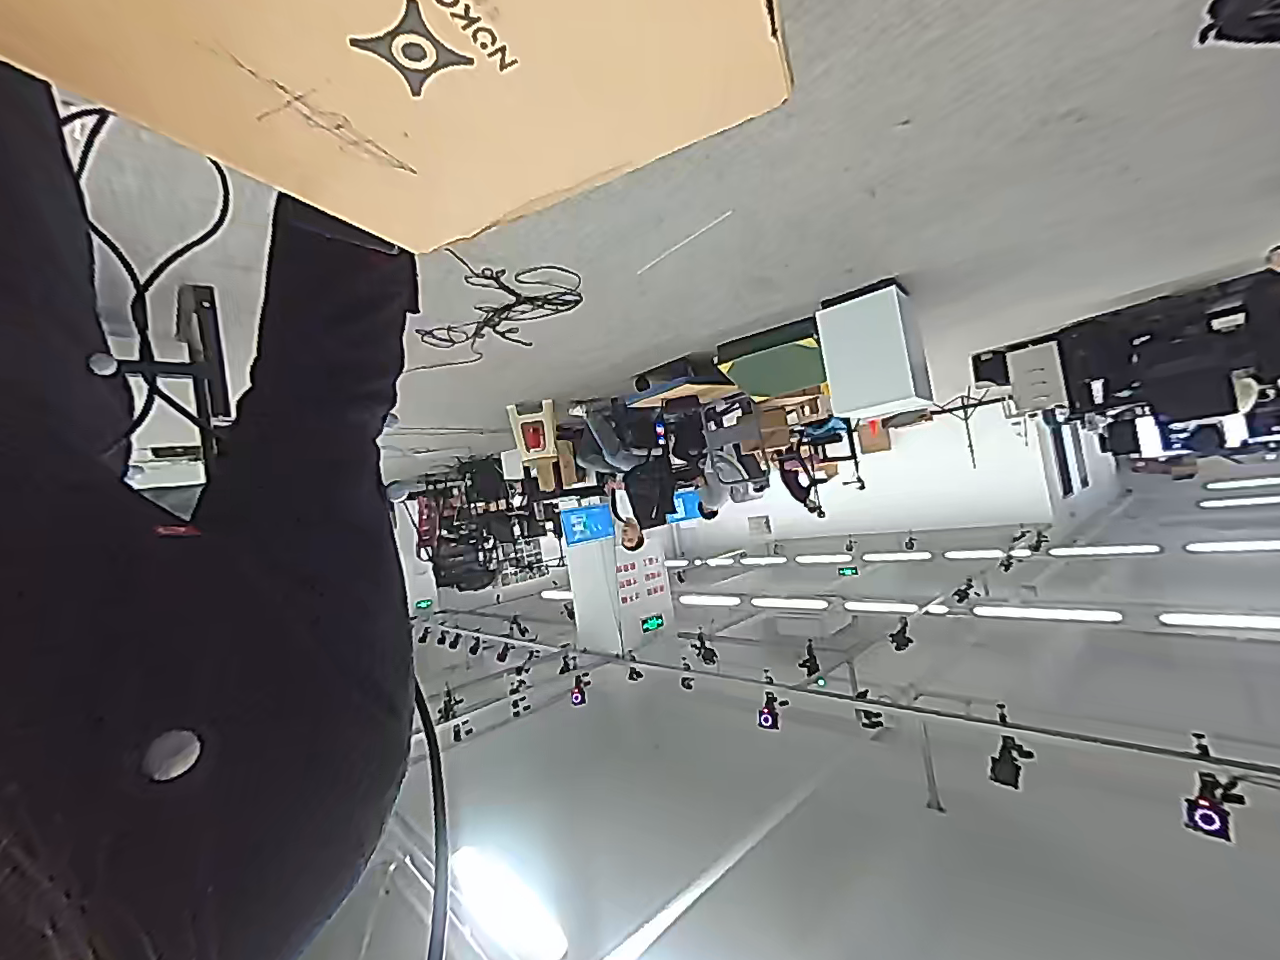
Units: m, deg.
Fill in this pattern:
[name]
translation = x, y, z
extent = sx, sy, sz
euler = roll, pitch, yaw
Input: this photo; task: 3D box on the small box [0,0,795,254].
[small box]
translation = -0.068, -0.196, 0.148
extent = 0.179, 0.176, 0.168
euler = -8, 177, 24
